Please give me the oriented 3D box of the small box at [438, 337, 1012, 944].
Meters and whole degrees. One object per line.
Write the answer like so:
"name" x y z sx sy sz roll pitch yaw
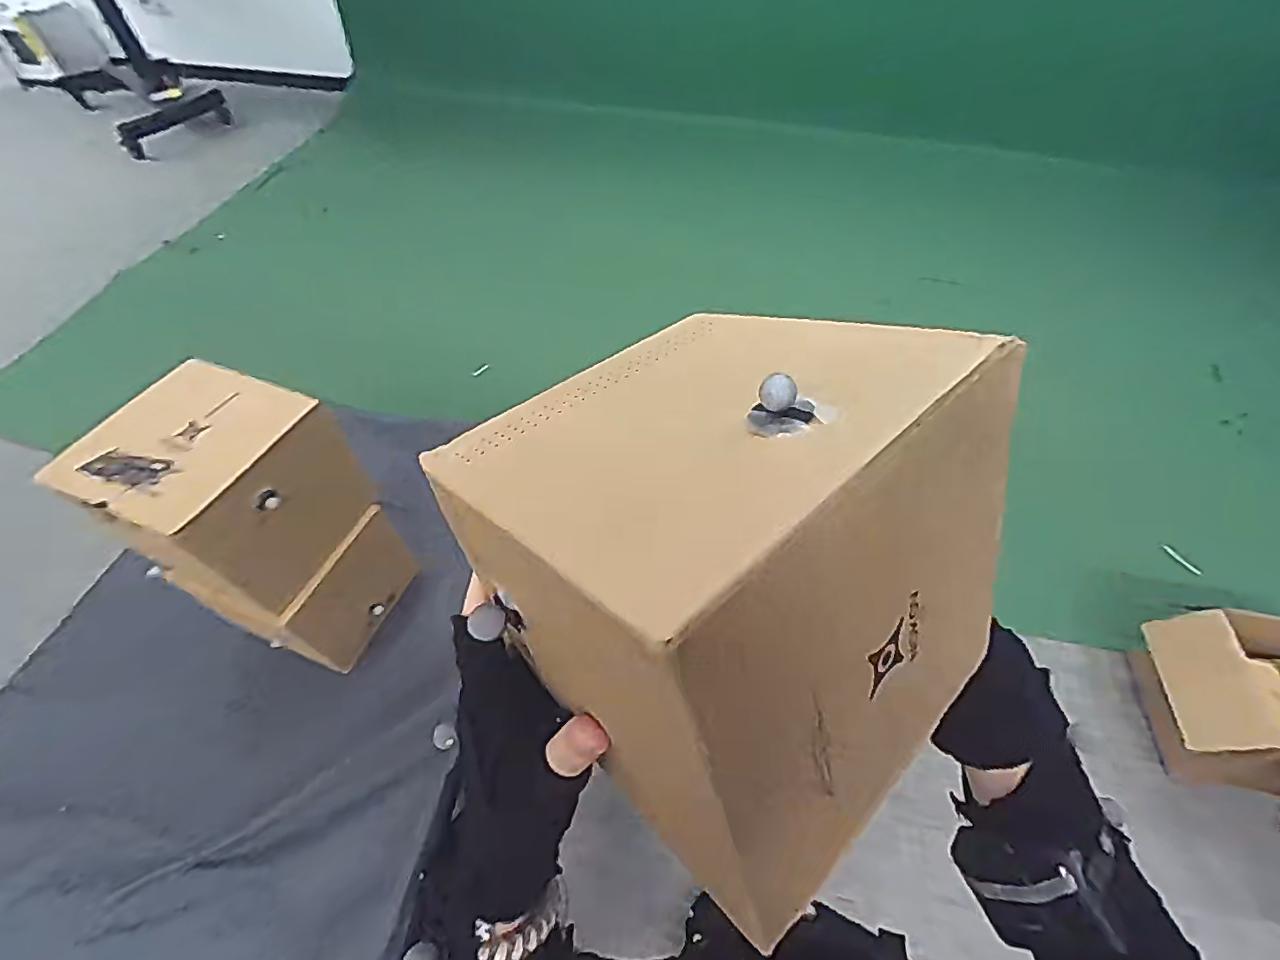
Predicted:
"small box" 0.039 0.041 0.256 0.179 0.168 0.176 -33 33 -26

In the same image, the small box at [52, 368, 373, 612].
"small box" -0.427 0.015 0.580 0.168 0.176 0.179 18 55 12
